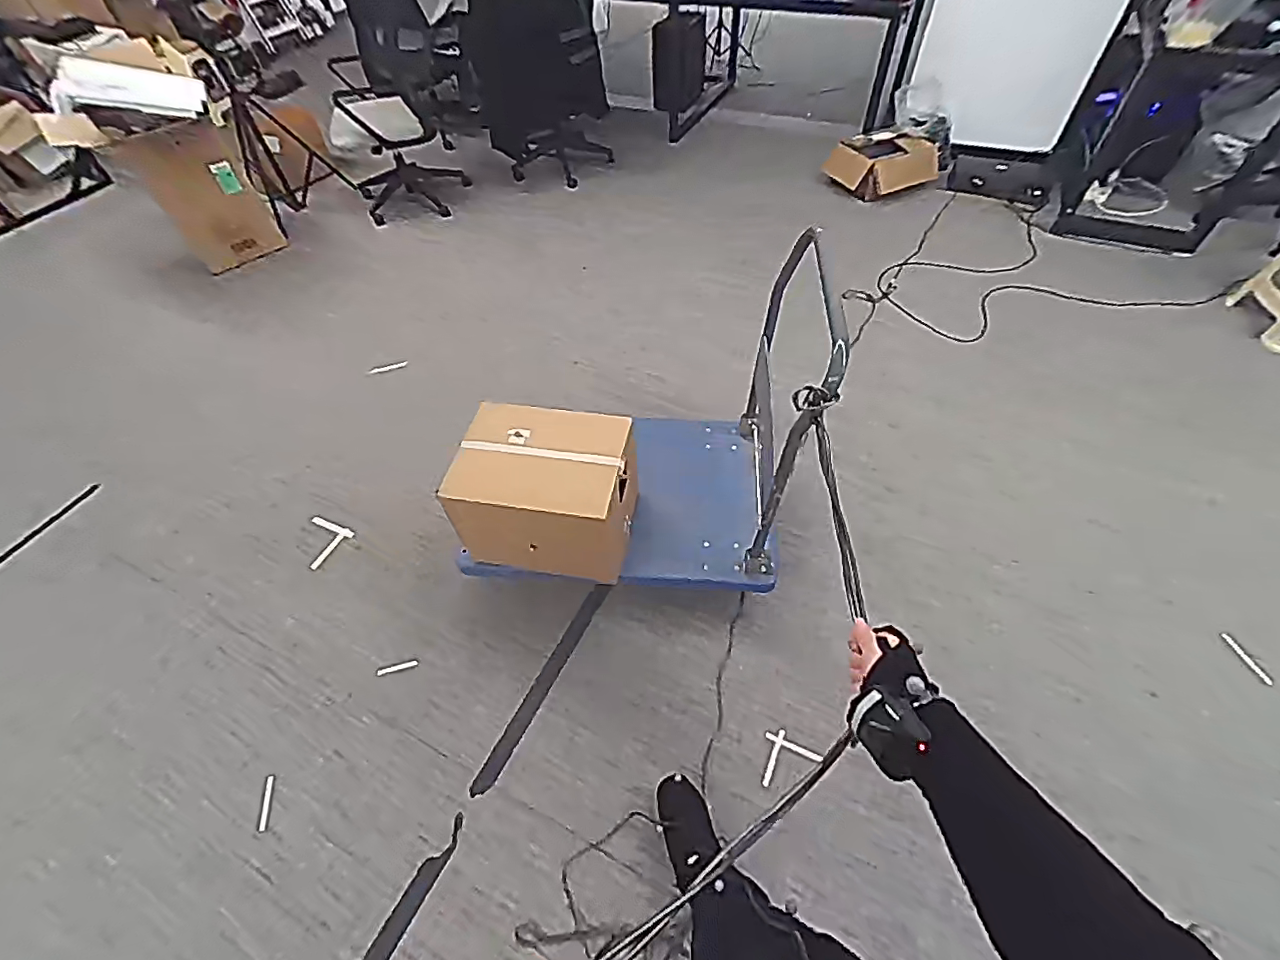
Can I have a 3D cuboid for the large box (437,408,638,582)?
[{"bbox_3d":[-0.232,0.042,1.404,0.408,0.320,0.320,6,52,9],"label":"large box"}]
